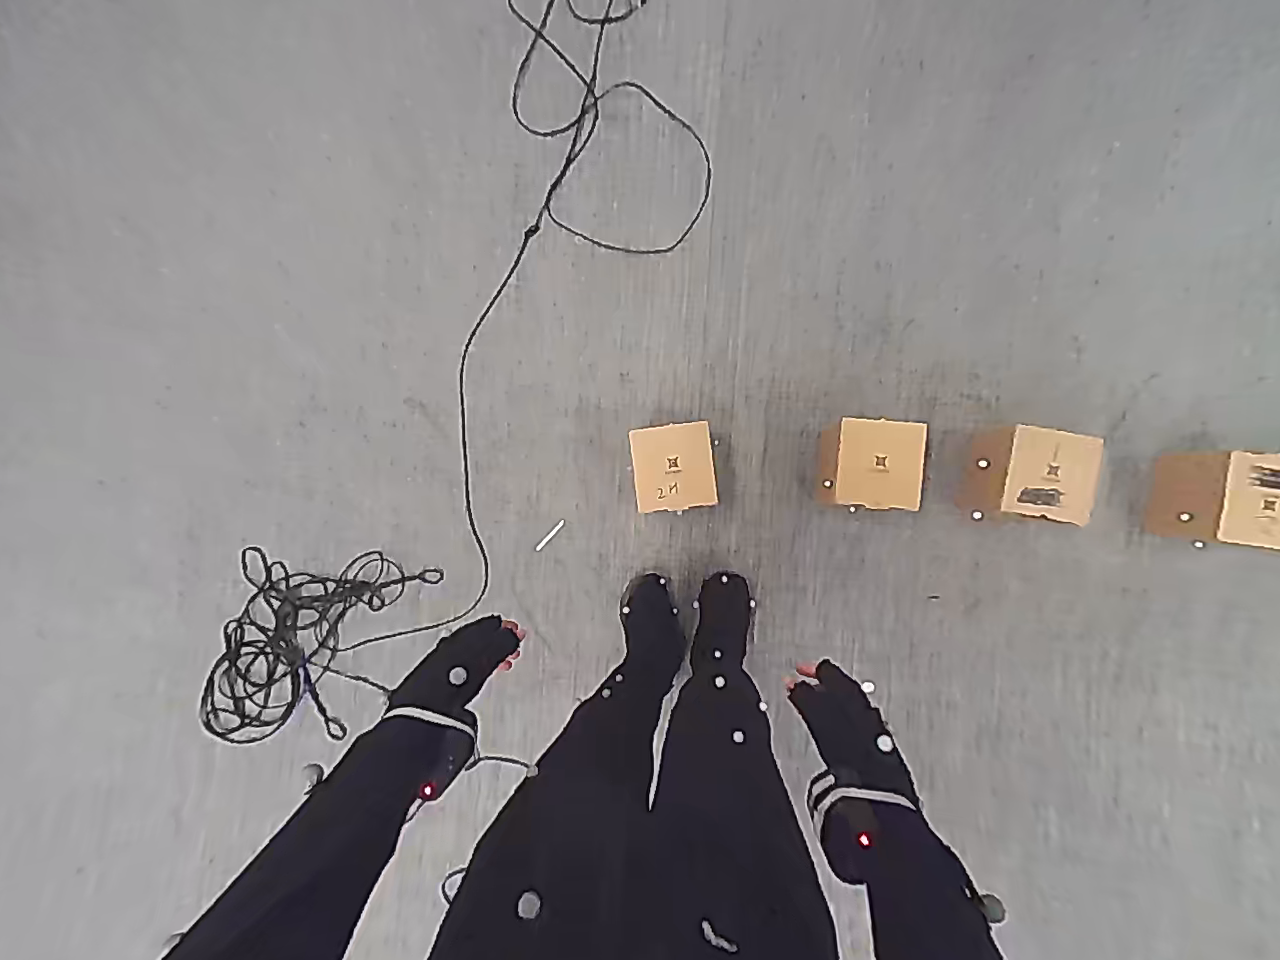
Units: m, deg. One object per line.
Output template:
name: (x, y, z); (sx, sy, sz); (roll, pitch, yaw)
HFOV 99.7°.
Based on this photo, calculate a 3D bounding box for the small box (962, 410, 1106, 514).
small box: (0.794, -0.033, 1.110); (0.168, 0.176, 0.179); (11, 89, 5)

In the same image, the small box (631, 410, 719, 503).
small box: (0.077, -0.044, 1.177); (0.168, 0.176, 0.179); (-8, 88, 6)

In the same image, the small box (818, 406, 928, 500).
small box: (0.481, -0.053, 1.140); (0.168, 0.176, 0.179); (4, 90, 6)
